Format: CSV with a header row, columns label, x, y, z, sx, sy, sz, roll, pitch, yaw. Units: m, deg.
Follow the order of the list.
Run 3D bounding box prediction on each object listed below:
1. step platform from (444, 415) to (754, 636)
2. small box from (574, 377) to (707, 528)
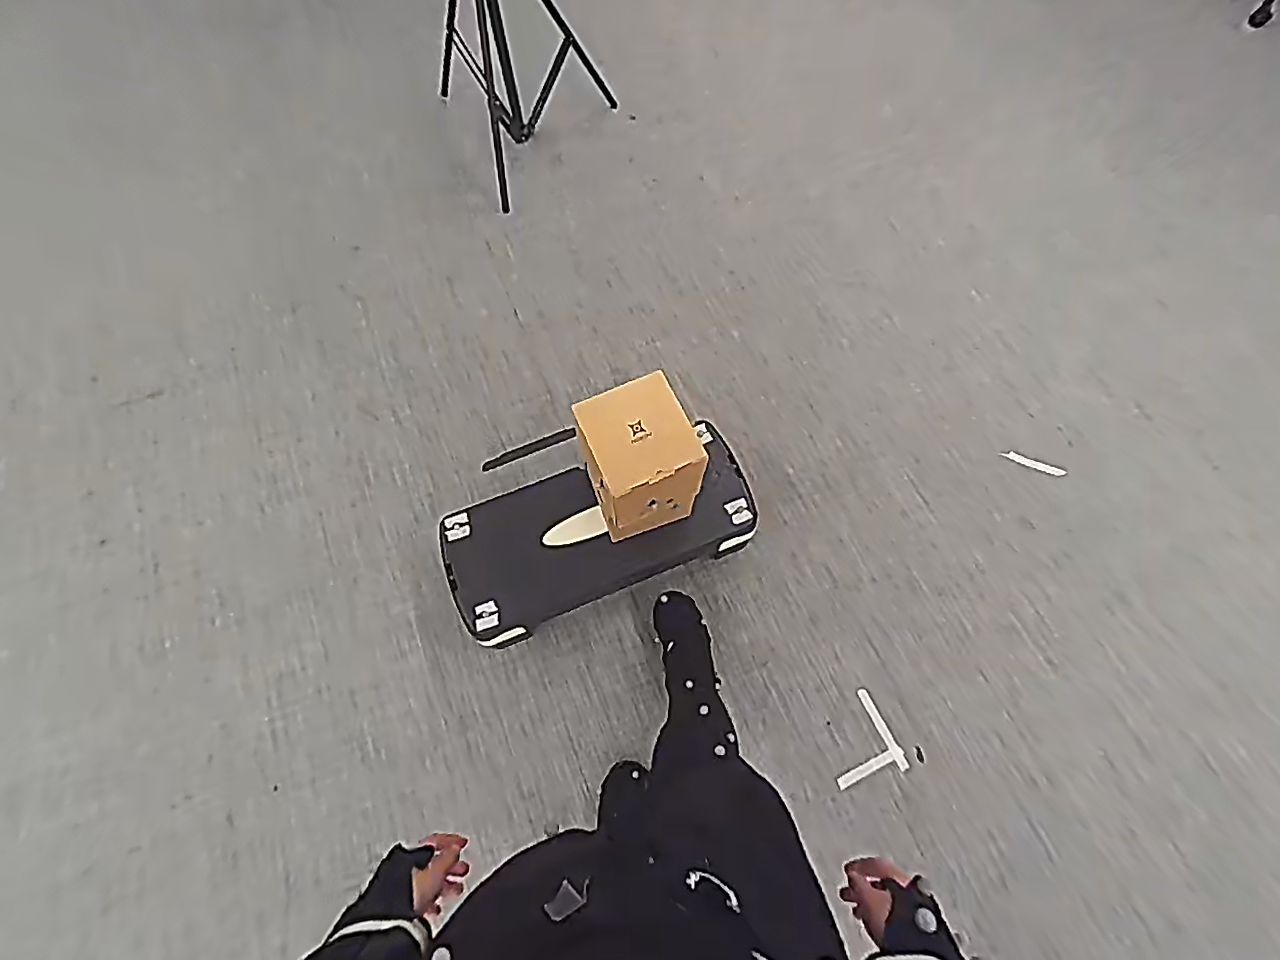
label,x,y,z,sx,sy,sz,roll,pitch,yaw
step platform,-0.086,0.101,1.245,0.684,0.204,0.286,-22,70,-7
small box,-0.003,-0.041,0.940,0.168,0.176,0.179,-23,71,-9
